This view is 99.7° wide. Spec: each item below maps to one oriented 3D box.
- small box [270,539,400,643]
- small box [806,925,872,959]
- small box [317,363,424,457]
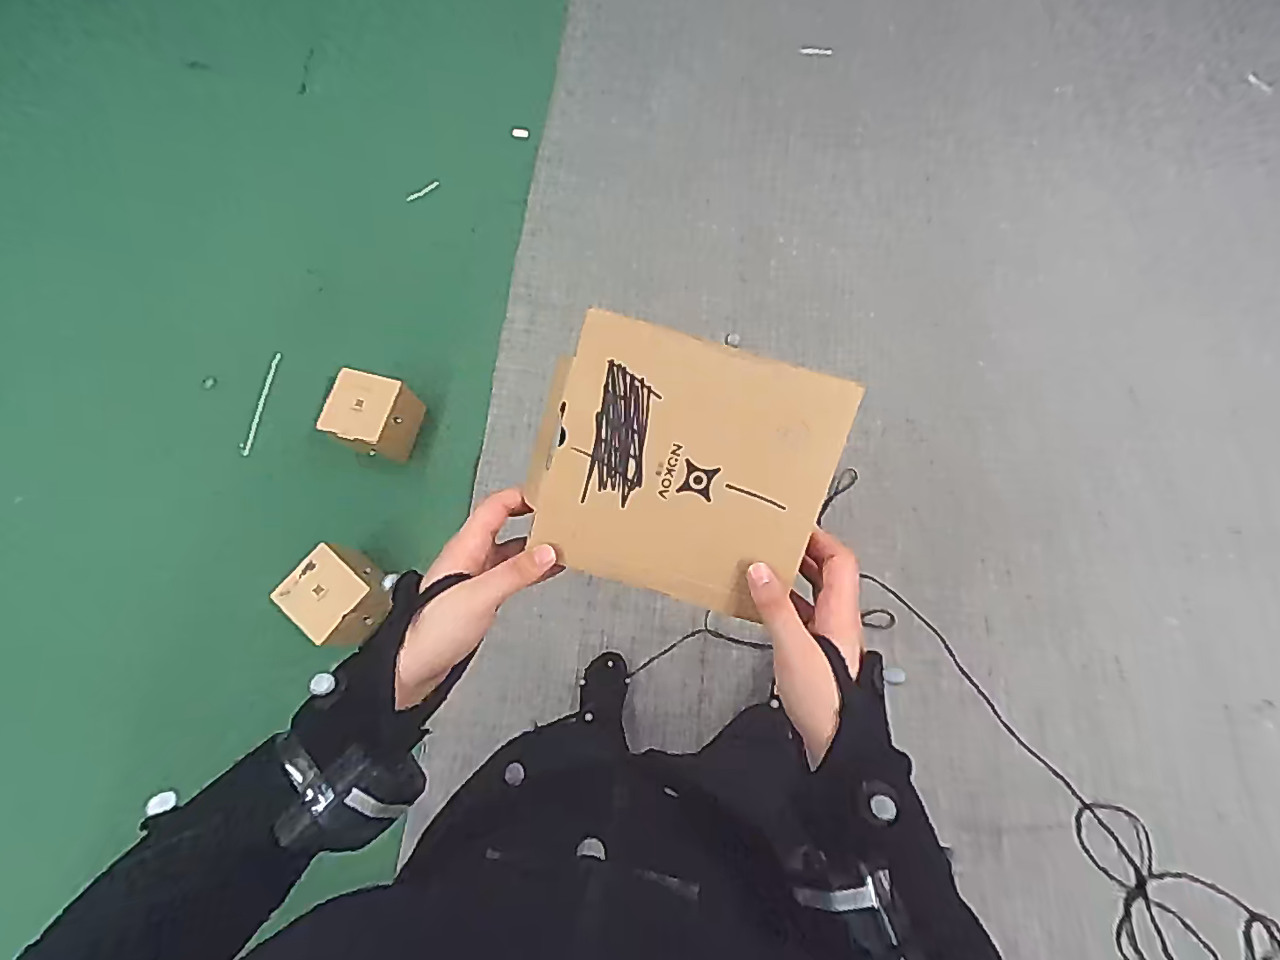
[{"bbox_3d":[-0.720,0.266,1.301,0.179,0.176,0.168,39,79,11],"label":"small box"},{"bbox_3d":[0.416,1.039,1.056,0.168,0.176,0.179,38,79,11],"label":"small box"},{"bbox_3d":[-0.699,-0.176,1.424,0.168,0.176,0.179,14,74,4],"label":"small box"}]
